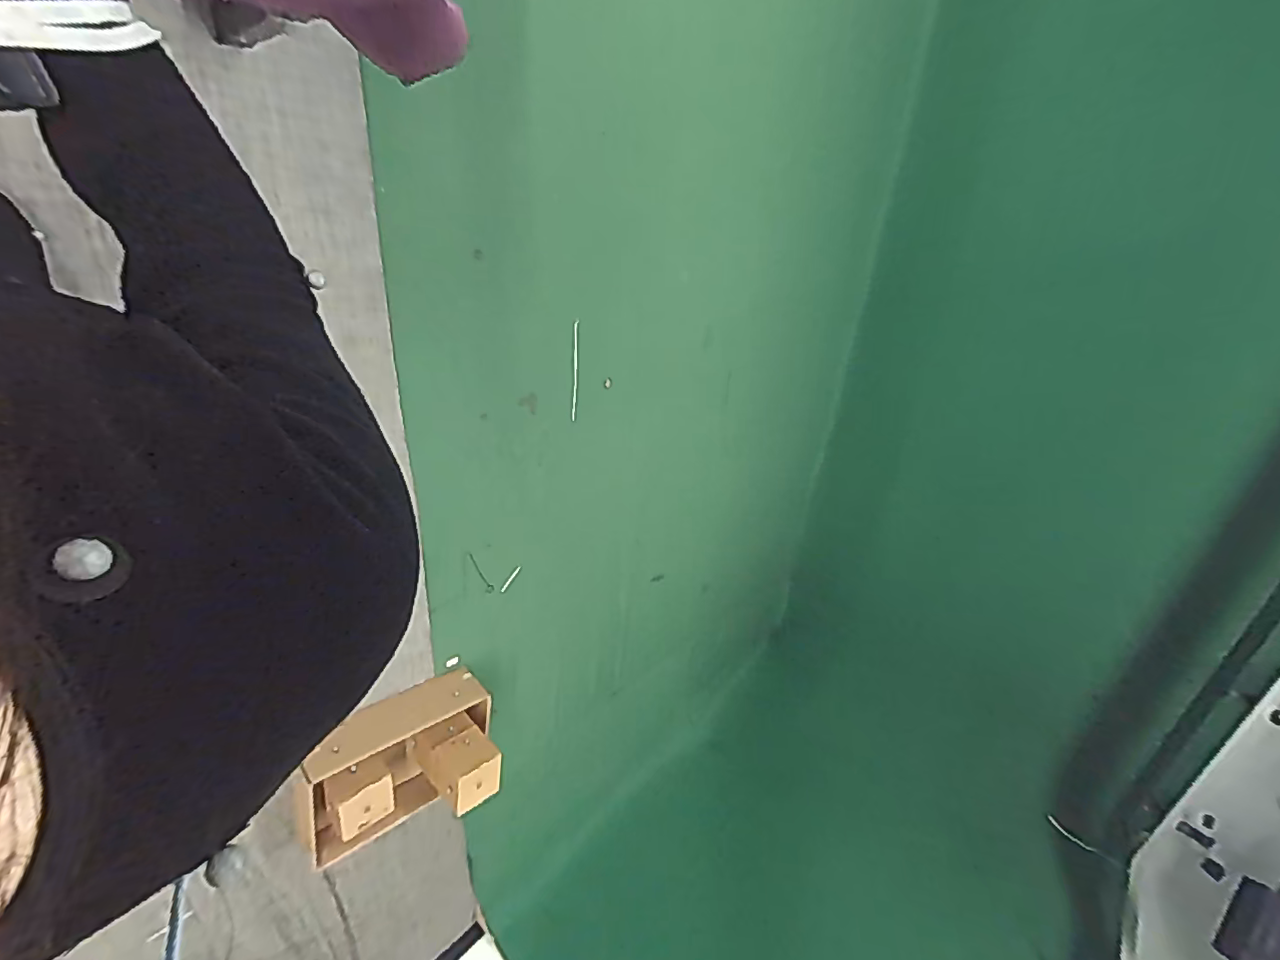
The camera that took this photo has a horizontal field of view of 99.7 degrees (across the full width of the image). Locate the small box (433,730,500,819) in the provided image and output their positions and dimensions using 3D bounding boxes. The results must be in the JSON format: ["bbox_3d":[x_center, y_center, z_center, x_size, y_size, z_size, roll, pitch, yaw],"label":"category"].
[{"bbox_3d":[-0.613,1.029,1.904,0.168,0.176,0.179,-13,119,-46],"label":"small box"}]
